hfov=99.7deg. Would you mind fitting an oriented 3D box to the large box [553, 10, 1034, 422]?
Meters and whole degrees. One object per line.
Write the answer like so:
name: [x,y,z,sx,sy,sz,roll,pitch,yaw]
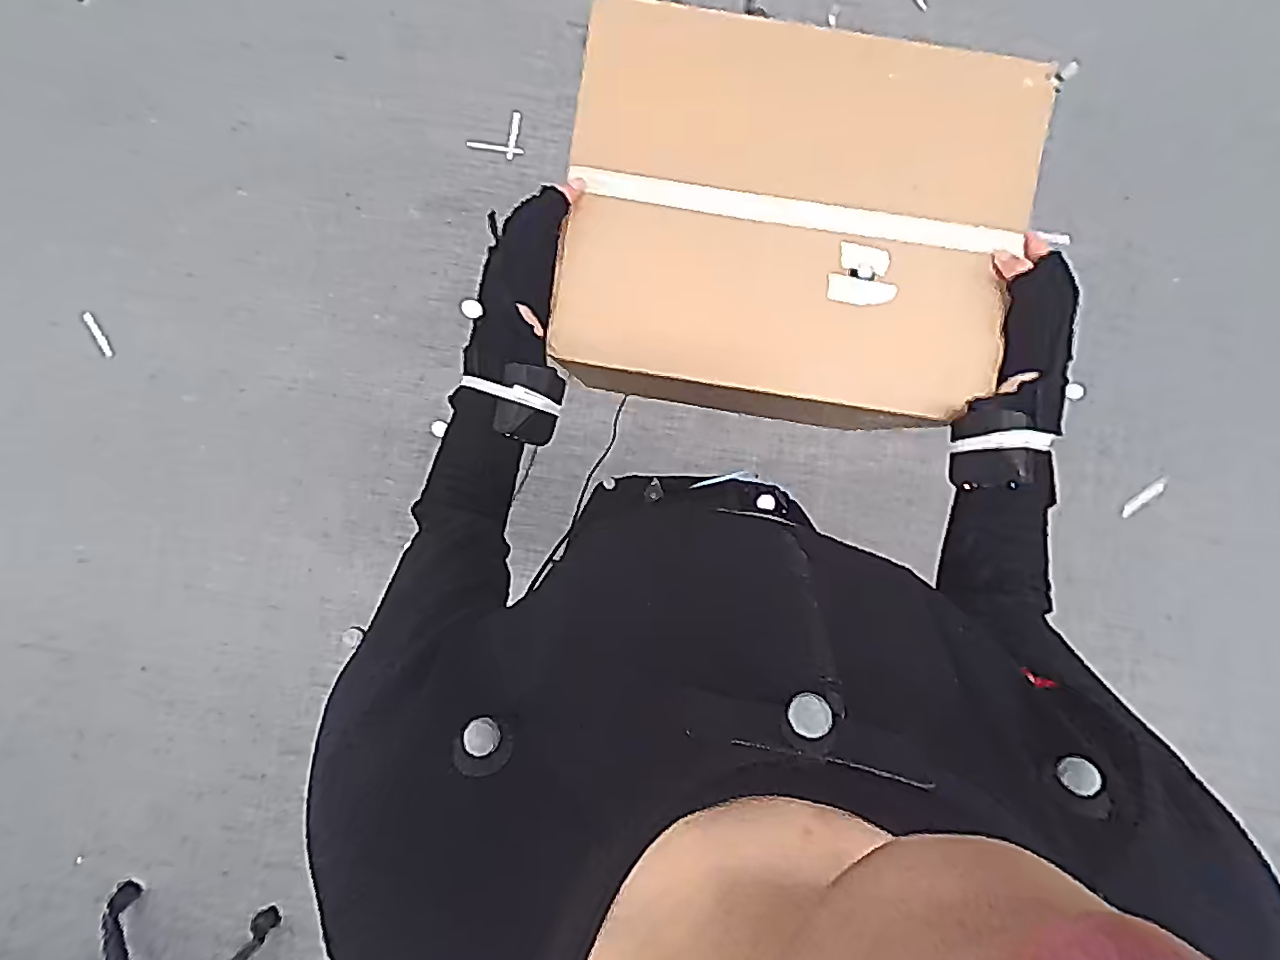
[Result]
large box: [0.134,-0.251,0.640,0.408,0.320,0.320,9,96,-1]
